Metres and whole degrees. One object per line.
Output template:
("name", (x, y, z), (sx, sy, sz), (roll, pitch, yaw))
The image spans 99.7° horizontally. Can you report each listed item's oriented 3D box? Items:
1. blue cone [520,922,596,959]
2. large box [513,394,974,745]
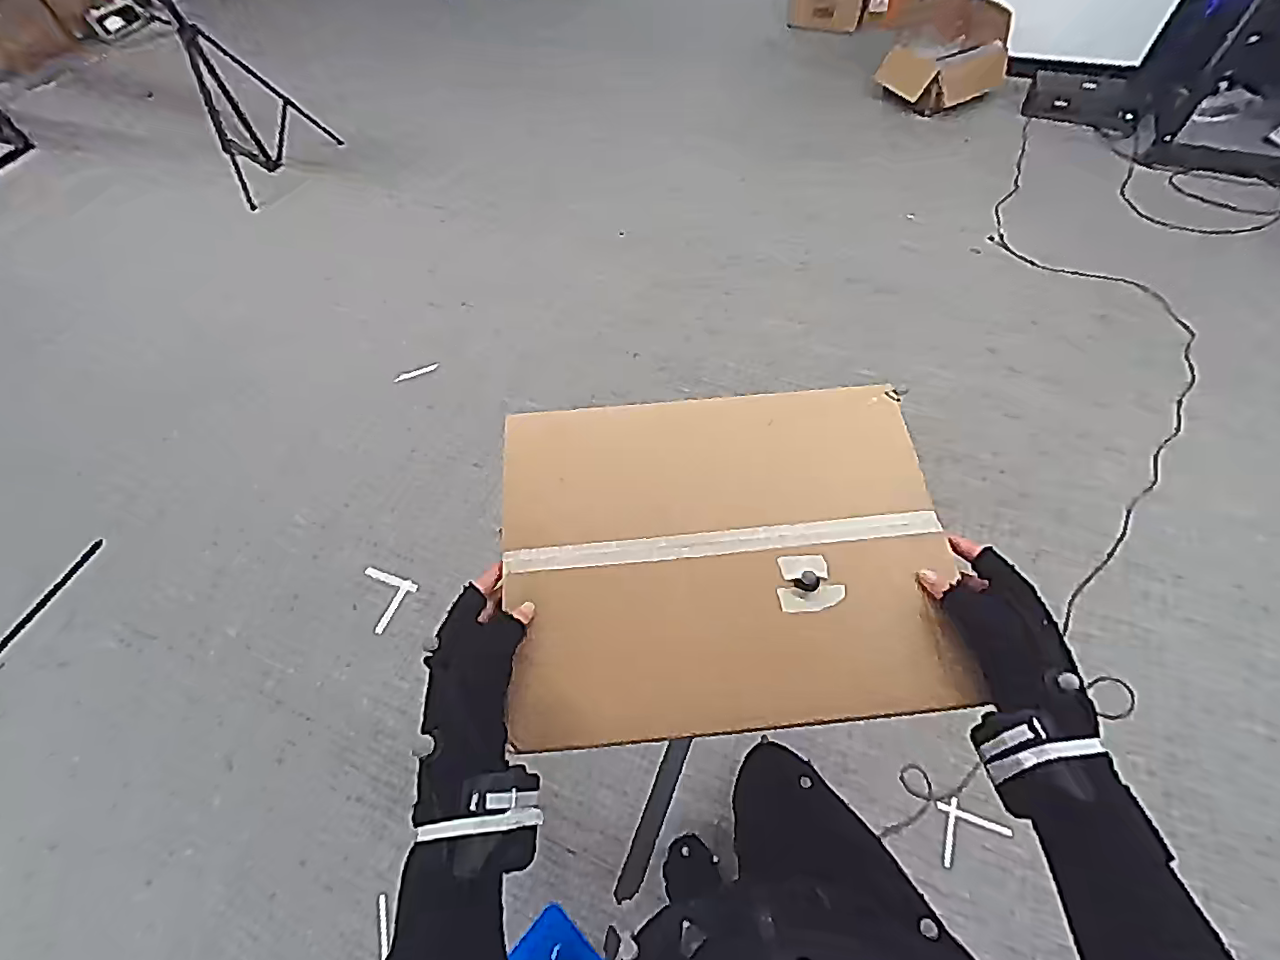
("blue cone", (-0.182, 0.948, 0.944), (0.193, 0.380, 0.192), (38, 69, 24))
("large box", (0.077, 0.126, 0.652), (0.408, 0.320, 0.320), (-5, 66, -2))
